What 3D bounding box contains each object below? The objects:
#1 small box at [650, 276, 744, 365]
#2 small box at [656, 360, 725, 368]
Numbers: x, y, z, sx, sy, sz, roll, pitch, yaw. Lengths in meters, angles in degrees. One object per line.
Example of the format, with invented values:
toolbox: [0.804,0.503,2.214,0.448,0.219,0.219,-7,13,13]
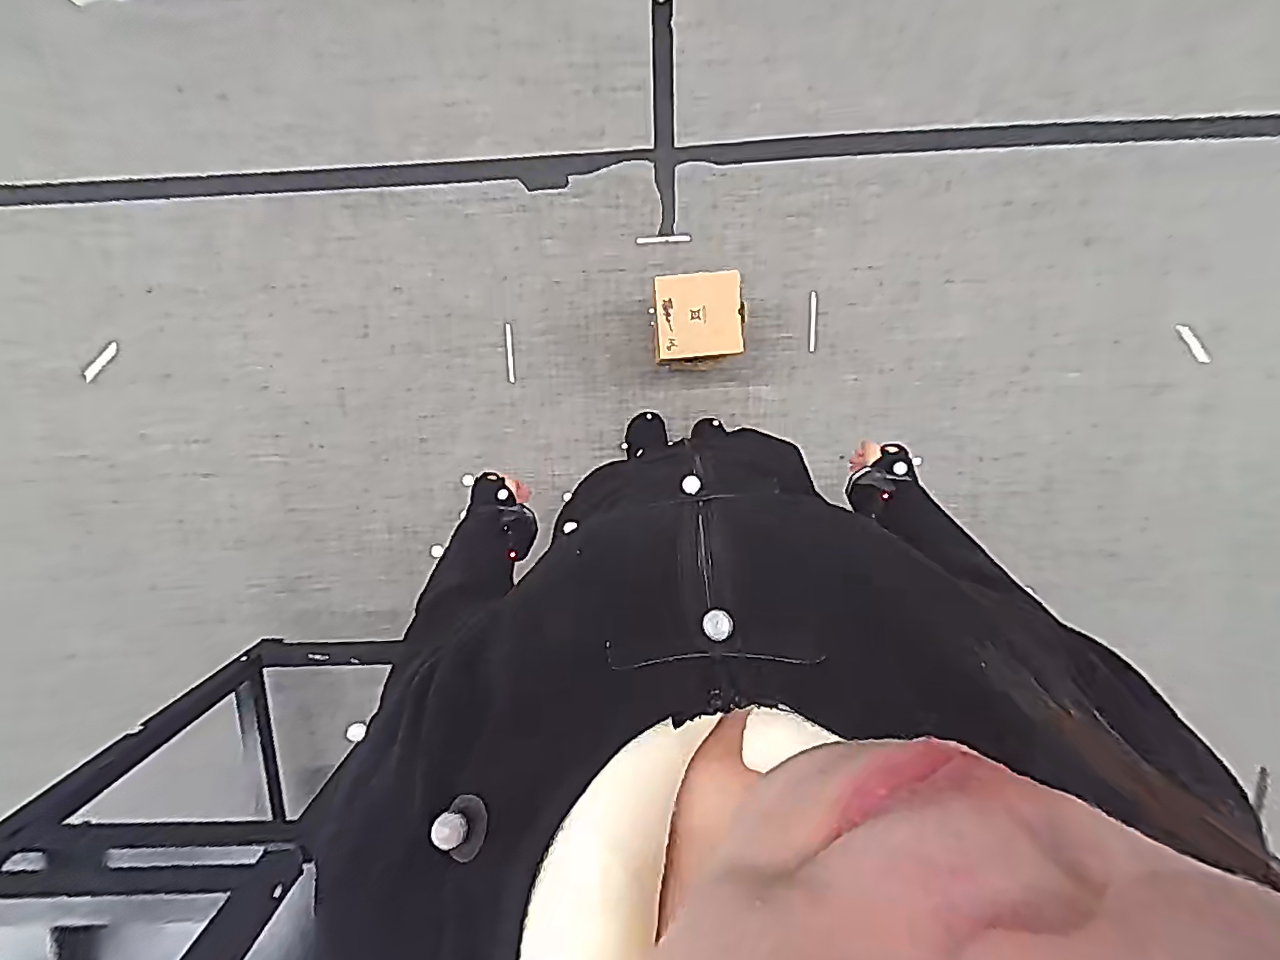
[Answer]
small box: [0.118,-0.339,1.172,0.179,0.176,0.168,-5,100,-1]
small box: [0.121,-0.367,1.334,0.168,0.176,0.179,0,100,-1]
